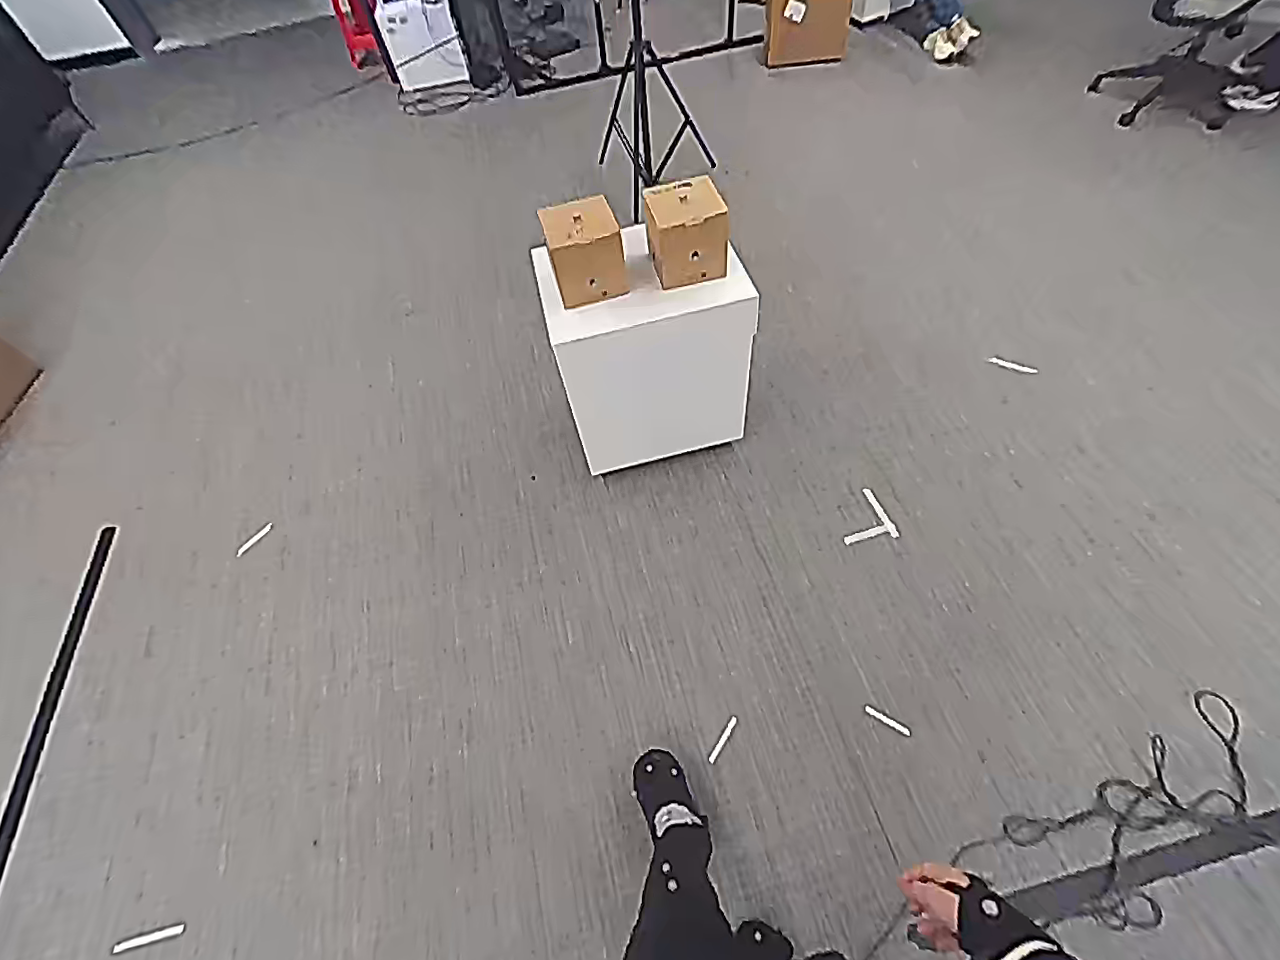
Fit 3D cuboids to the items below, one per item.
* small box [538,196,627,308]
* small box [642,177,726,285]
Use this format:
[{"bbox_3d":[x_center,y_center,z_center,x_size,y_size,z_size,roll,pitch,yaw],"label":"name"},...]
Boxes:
[{"bbox_3d":[-0.137,-0.550,1.314,0.168,0.176,0.179,-16,57,-4],"label":"small box"},{"bbox_3d":[0.108,-0.597,1.317,0.168,0.176,0.179,-13,57,-2],"label":"small box"}]
